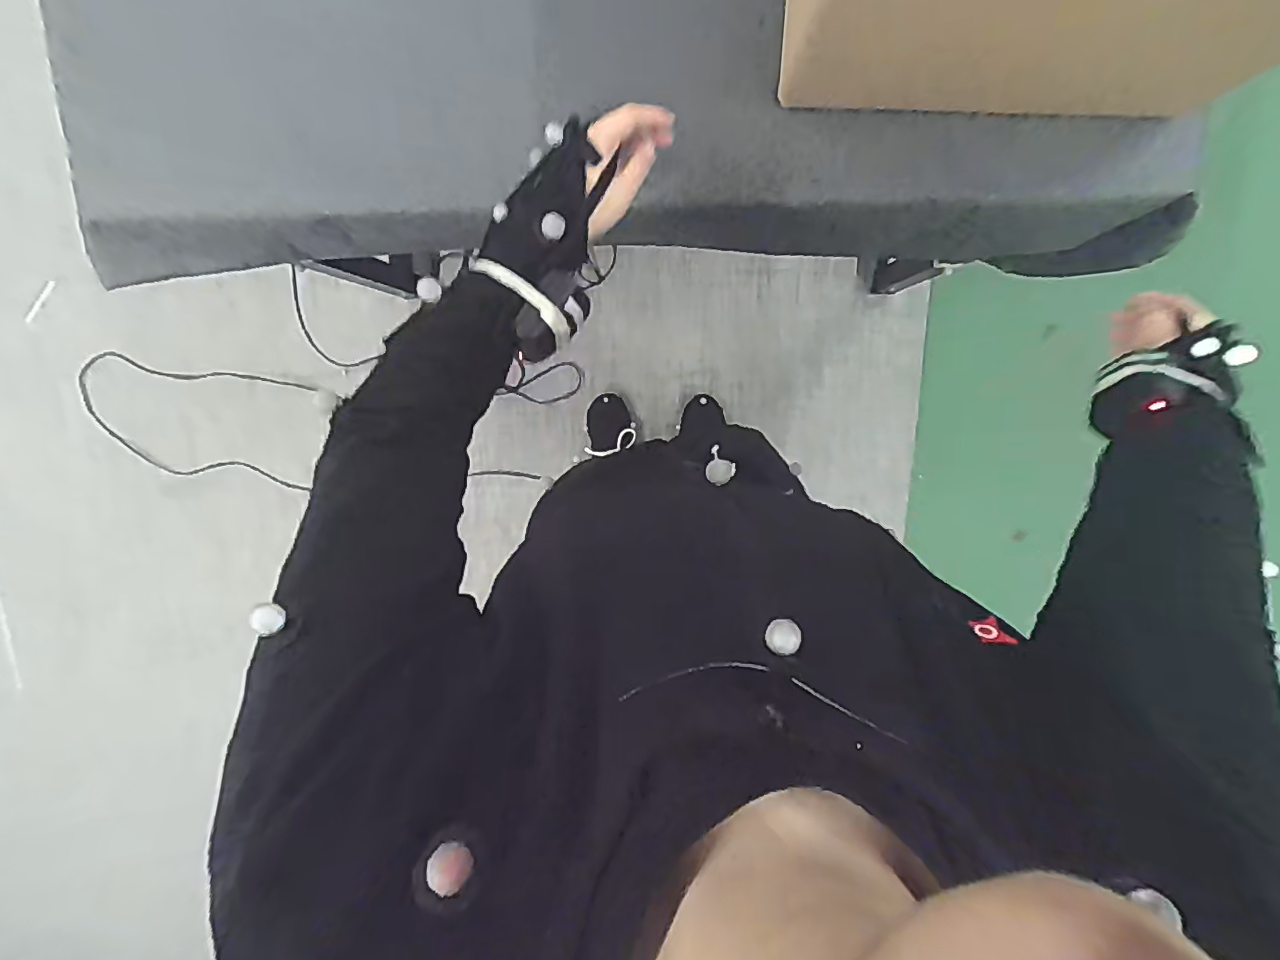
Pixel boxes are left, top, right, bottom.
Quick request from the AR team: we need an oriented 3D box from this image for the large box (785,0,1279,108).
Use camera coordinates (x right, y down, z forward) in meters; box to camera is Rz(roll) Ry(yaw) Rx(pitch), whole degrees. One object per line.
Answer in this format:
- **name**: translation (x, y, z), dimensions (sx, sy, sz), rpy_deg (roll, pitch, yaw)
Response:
- **large box**: translation (0.340, -0.502, 0.375), dimensions (0.408, 0.320, 0.320), rpy_deg (3, 100, 2)
